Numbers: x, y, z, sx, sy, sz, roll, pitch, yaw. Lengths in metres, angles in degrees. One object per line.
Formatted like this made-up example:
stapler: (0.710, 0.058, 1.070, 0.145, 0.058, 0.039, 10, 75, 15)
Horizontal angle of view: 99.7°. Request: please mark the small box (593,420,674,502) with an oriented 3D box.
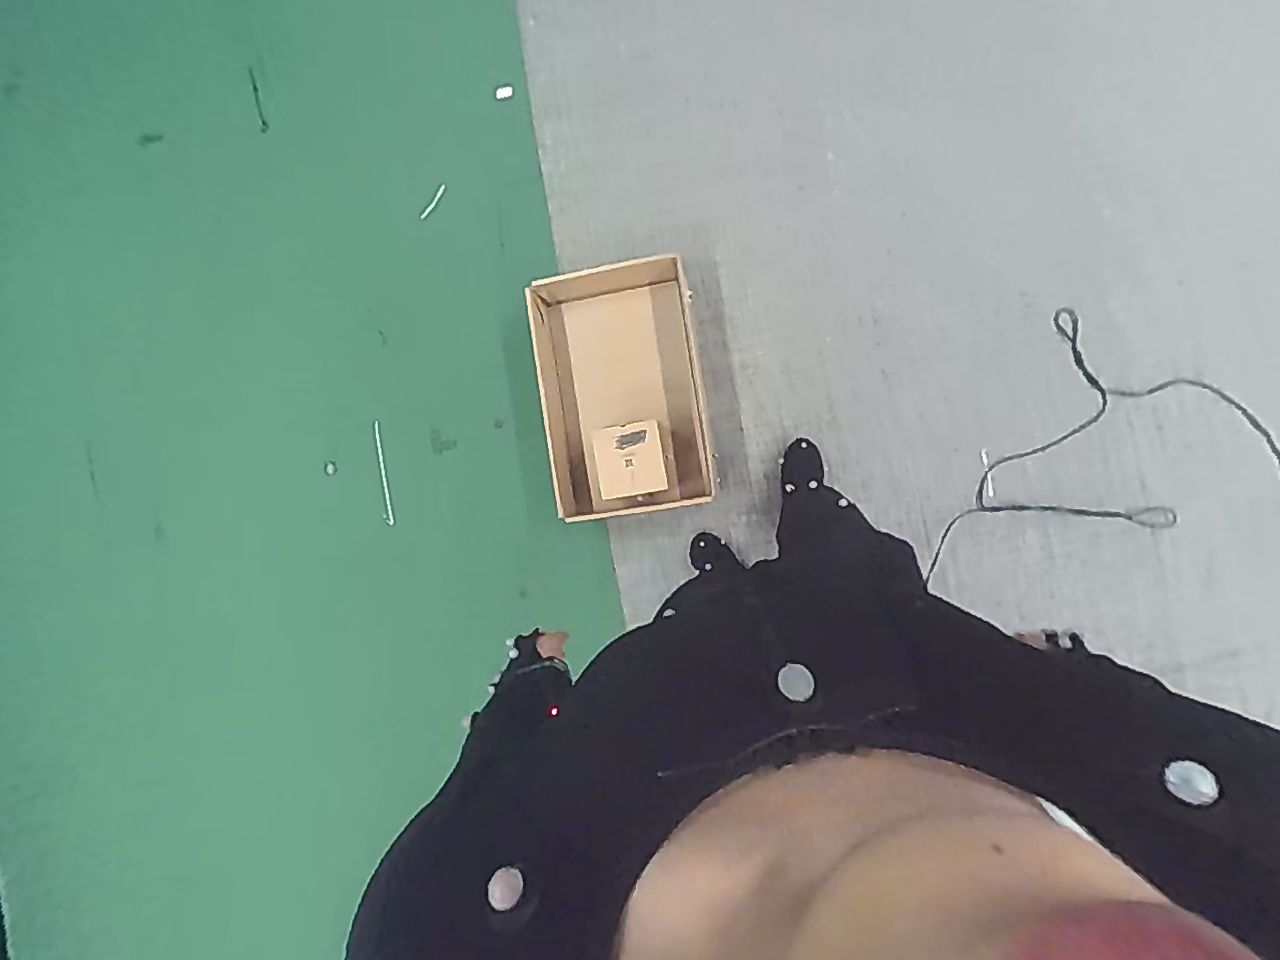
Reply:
small box: (-0.012, -0.043, 1.361, 0.168, 0.176, 0.179, -10, 88, 8)
